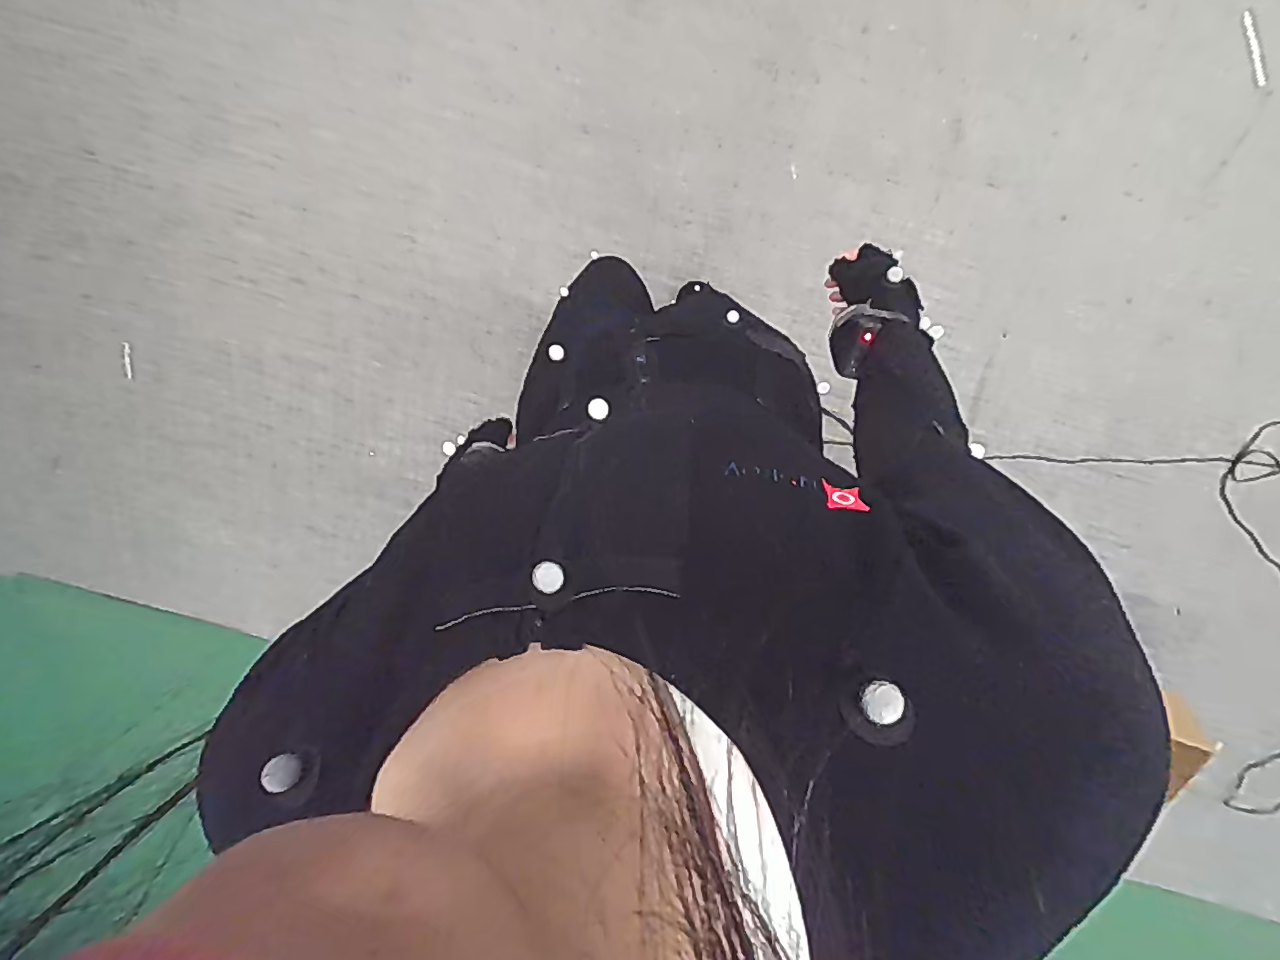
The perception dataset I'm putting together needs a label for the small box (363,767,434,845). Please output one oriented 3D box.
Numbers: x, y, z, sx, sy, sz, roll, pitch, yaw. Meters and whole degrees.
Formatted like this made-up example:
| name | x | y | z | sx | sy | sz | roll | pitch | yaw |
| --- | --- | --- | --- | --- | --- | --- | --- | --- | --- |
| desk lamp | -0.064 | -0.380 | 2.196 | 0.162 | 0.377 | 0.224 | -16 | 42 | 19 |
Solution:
| name | x | y | z | sx | sy | sz | roll | pitch | yaw |
| --- | --- | --- | --- | --- | --- | --- | --- | --- | --- |
| small box | -0.893 | 1.202 | 2.006 | 0.179 | 0.176 | 0.168 | 17 | 112 | -1 |
